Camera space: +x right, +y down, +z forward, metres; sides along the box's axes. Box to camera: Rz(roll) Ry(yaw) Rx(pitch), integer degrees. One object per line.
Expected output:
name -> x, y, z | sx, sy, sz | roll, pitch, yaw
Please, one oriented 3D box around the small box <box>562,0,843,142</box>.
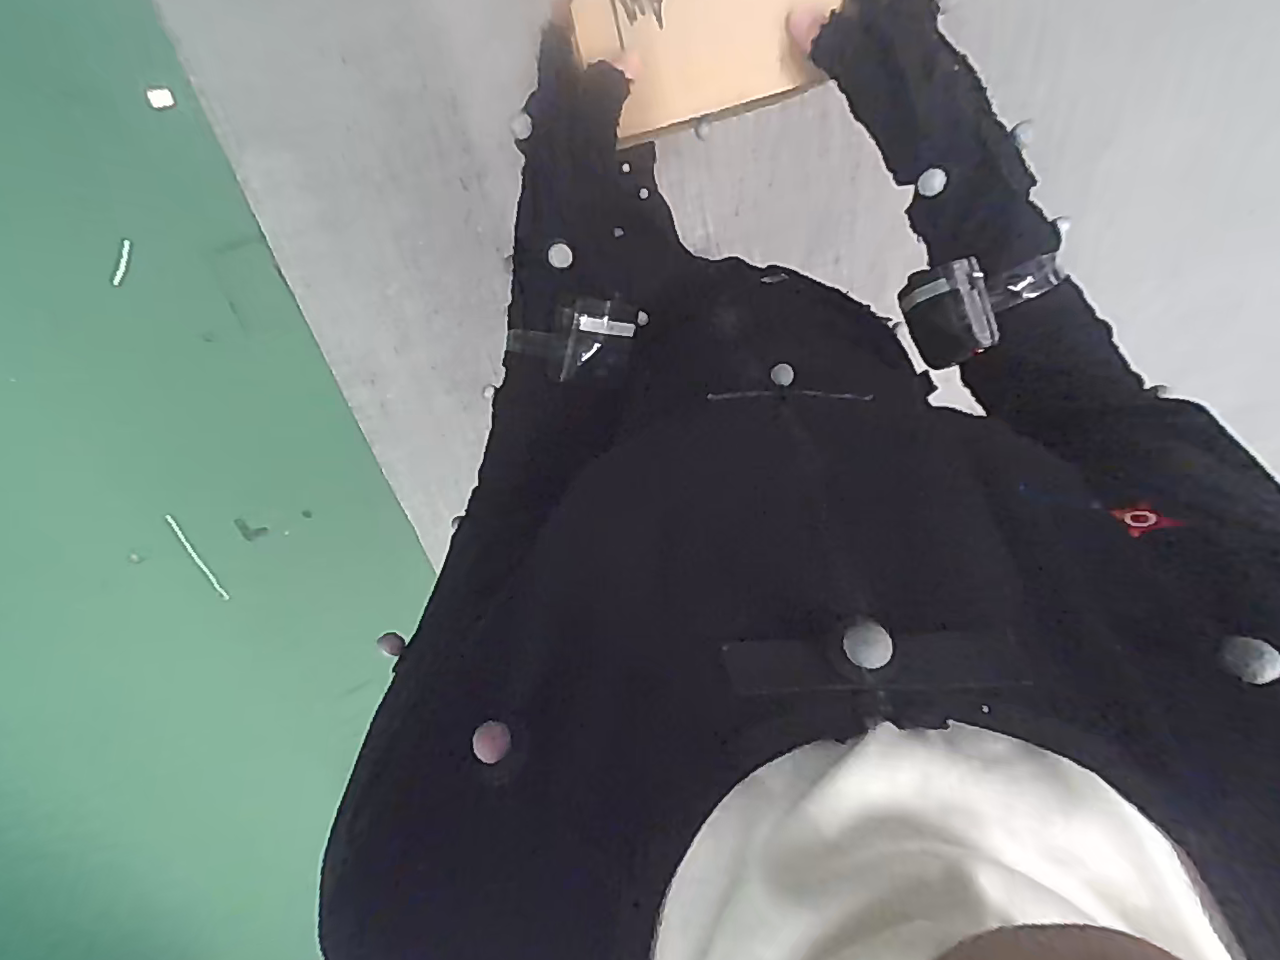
small box -> 0.033, -0.367, 0.401 | 0.179, 0.176, 0.168 | -12, 120, 6
